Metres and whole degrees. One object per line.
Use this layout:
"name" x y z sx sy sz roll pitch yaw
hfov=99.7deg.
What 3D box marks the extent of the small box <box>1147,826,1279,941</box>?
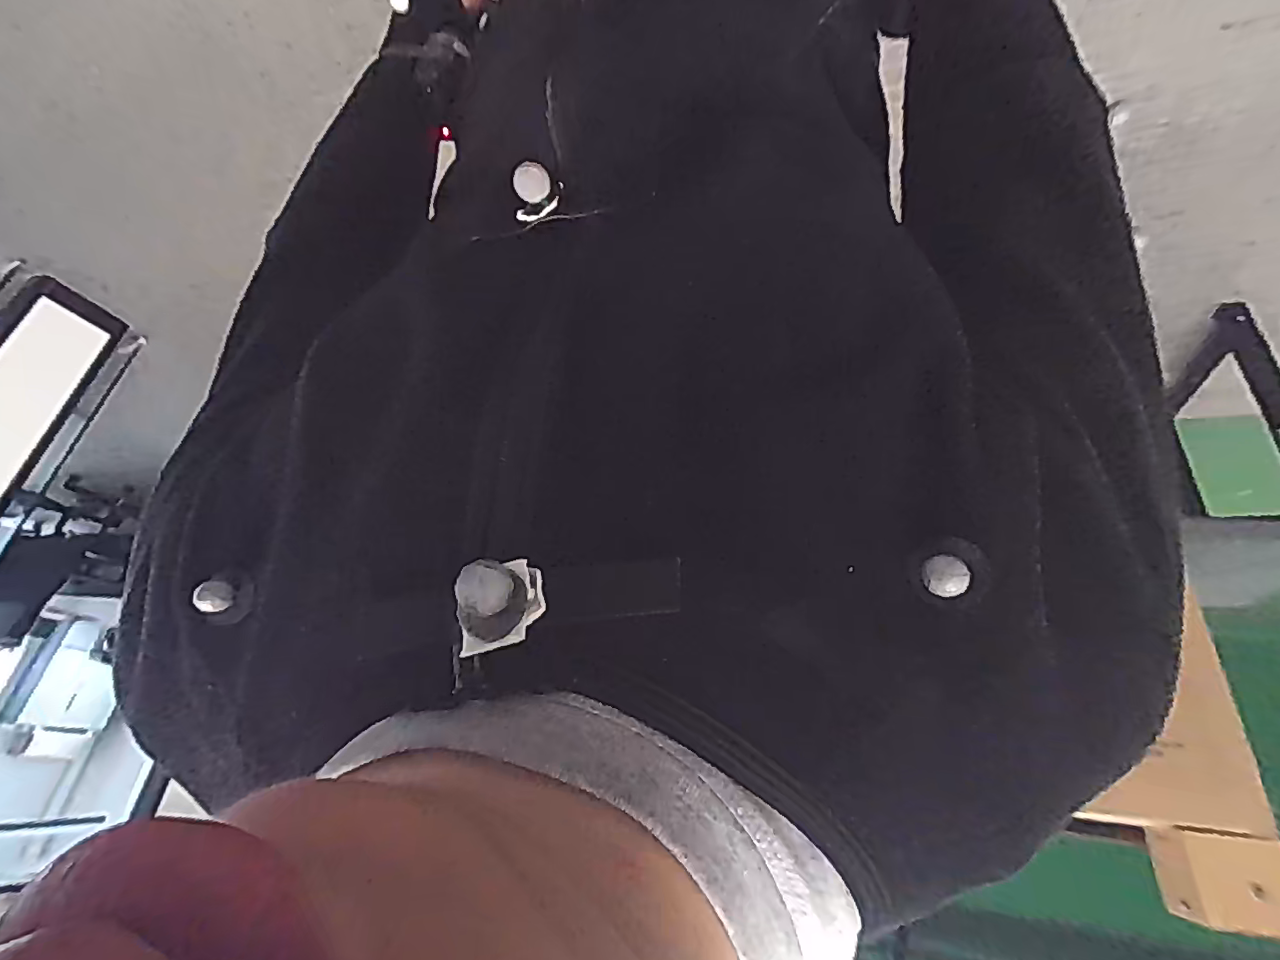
"small box" 1.250 0.853 1.153 0.179 0.176 0.168 -4 150 17
